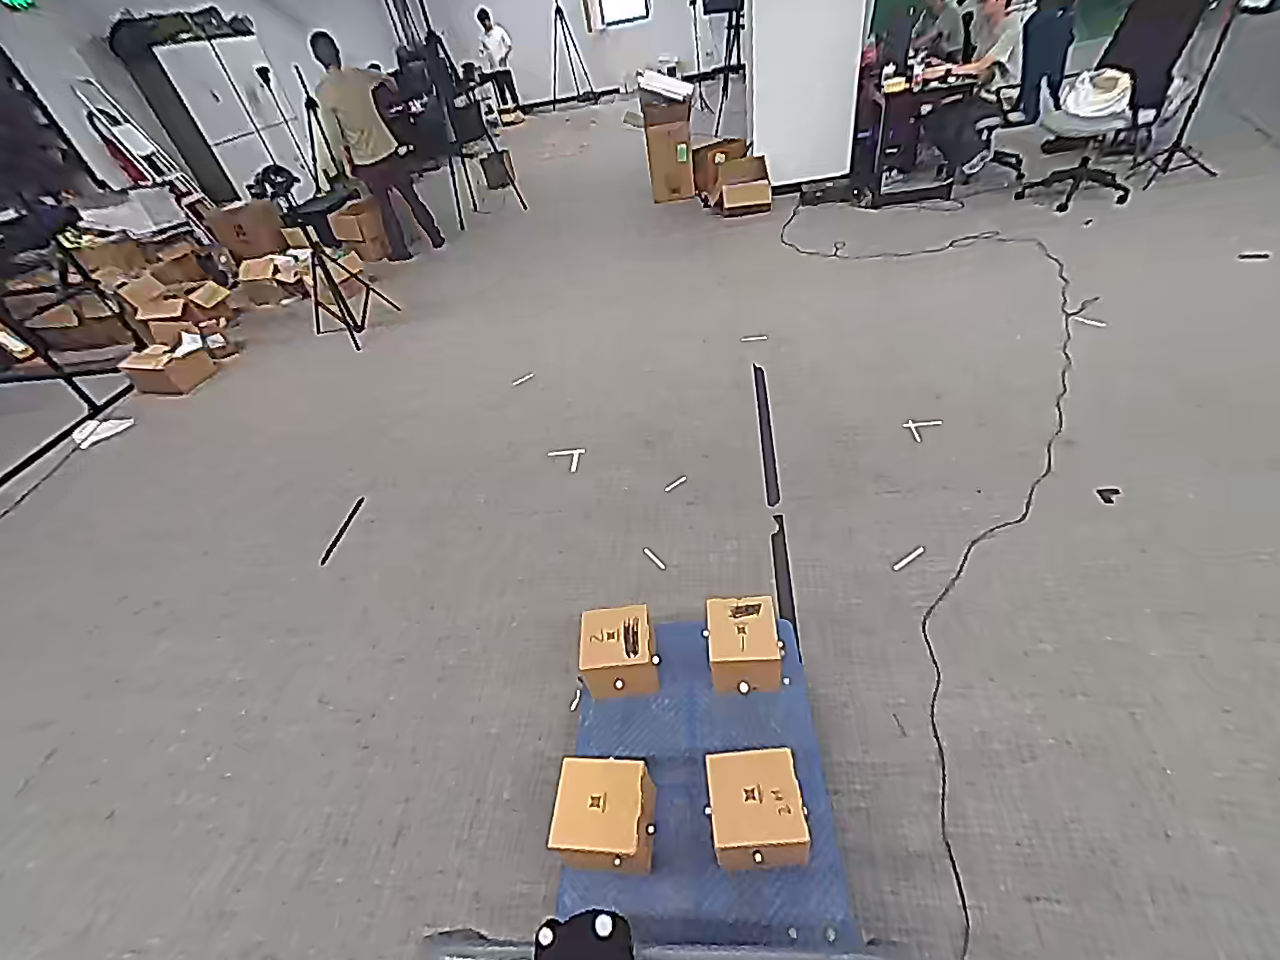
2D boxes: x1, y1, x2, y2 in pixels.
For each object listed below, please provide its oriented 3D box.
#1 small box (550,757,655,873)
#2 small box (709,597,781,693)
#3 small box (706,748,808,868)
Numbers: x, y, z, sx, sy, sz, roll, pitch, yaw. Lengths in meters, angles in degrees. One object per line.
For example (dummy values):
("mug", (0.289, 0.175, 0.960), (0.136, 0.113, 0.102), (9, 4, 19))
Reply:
("small box", (-0.071, 0.703, 1.134), (0.179, 0.176, 0.168), (-2, 42, 9))
("small box", (0.261, 0.417, 1.369), (0.168, 0.176, 0.179), (-5, 43, 8))
("small box", (0.235, 0.668, 1.097), (0.179, 0.176, 0.168), (-8, 42, 6))
